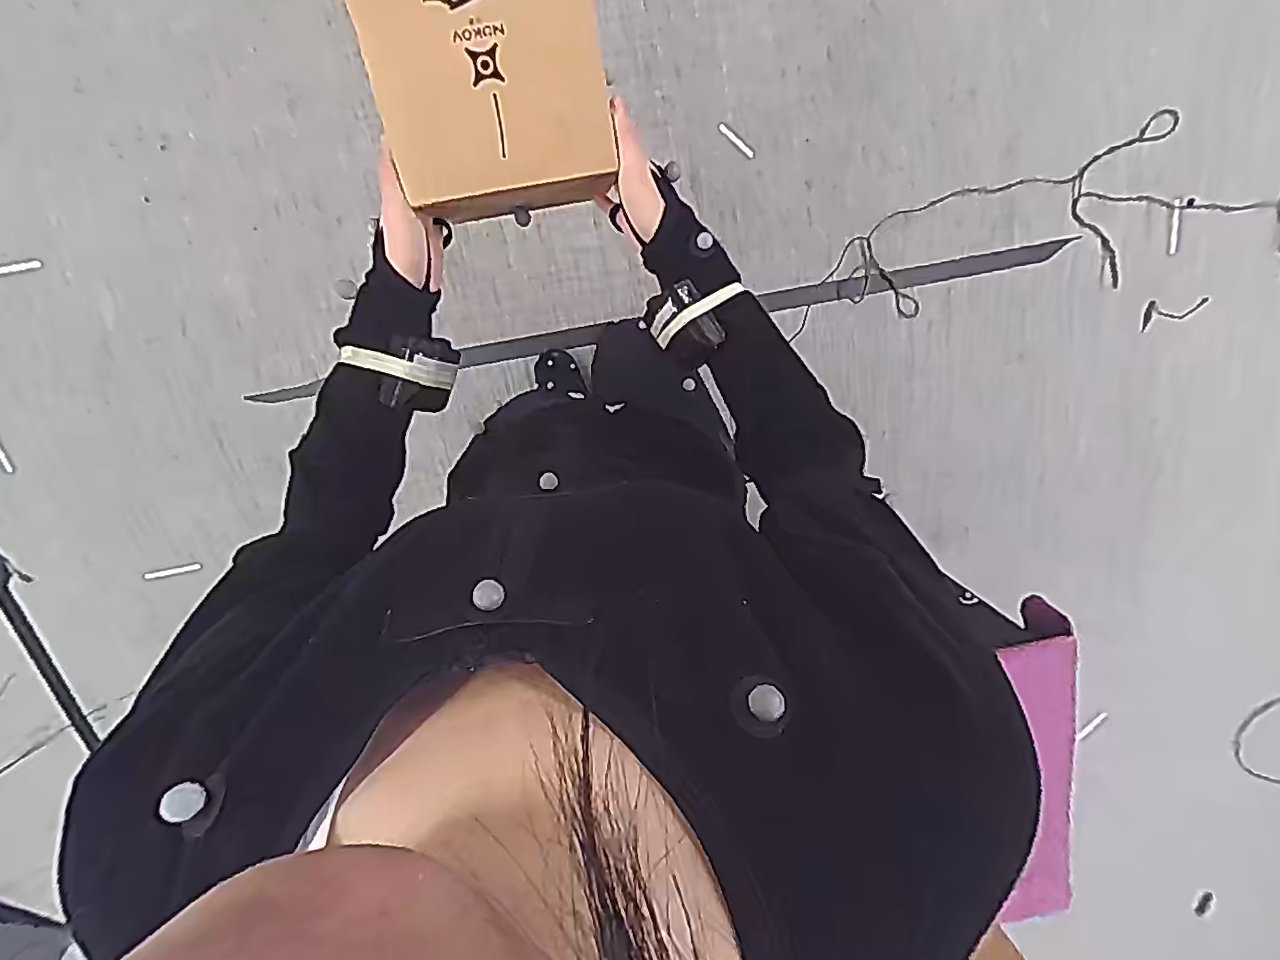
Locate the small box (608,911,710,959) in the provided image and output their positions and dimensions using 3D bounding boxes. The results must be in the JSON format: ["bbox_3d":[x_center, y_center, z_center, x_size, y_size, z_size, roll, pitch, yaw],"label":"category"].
[{"bbox_3d":[0.040,0.889,0.922,0.179,0.176,0.168,-9,105,-3],"label":"small box"}]

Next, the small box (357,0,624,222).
[{"bbox_3d":[-0.114,-0.329,0.452,0.168,0.176,0.179,-11,112,-3],"label":"small box"}]
